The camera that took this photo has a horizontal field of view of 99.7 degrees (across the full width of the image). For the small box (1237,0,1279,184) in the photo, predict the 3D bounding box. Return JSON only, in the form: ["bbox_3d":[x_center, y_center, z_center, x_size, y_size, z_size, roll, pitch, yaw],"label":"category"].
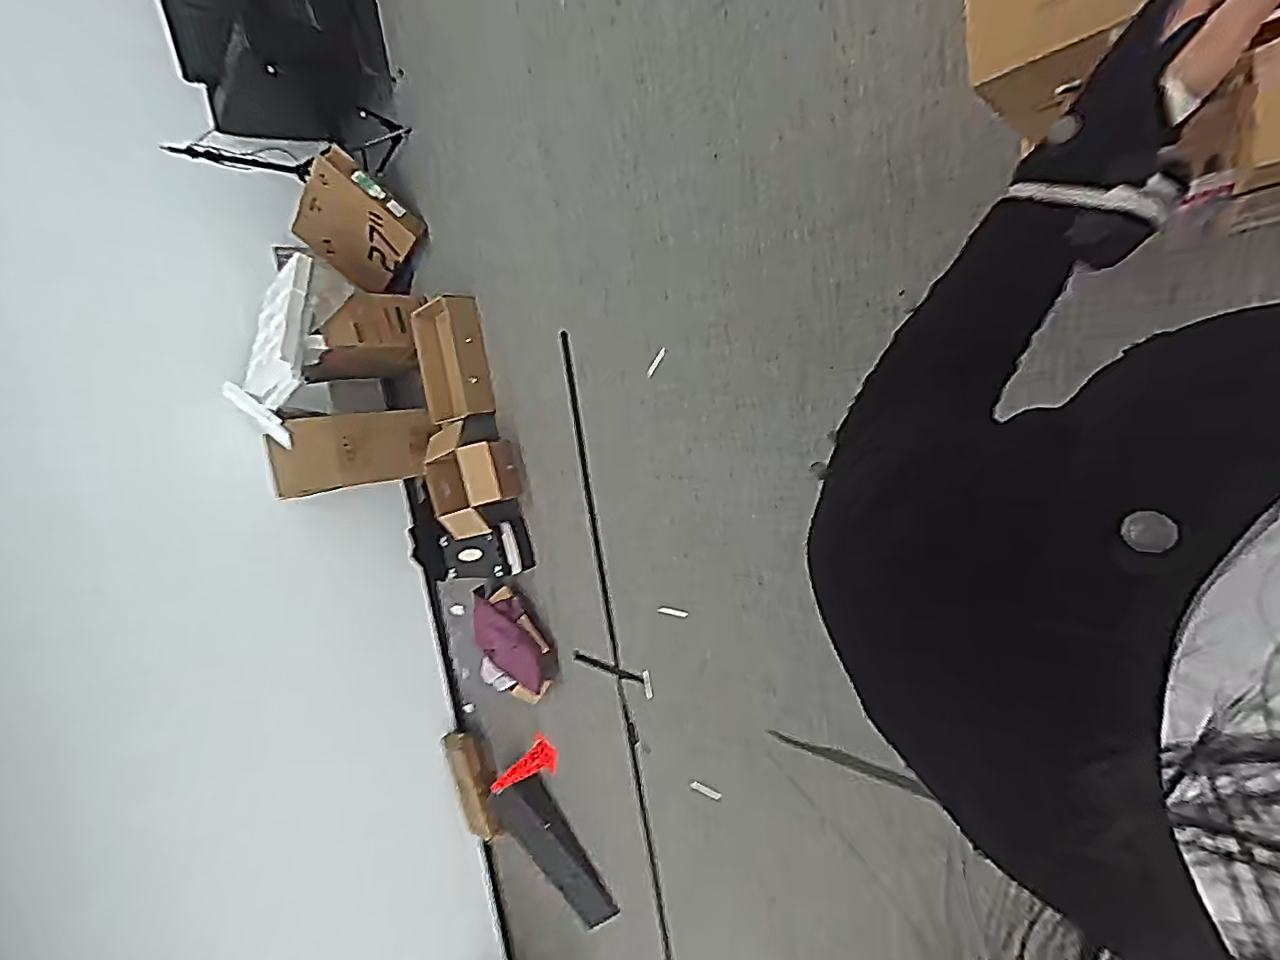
[{"bbox_3d":[0.729,-0.427,0.542,0.168,0.176,0.179,0,104,45],"label":"small box"}]

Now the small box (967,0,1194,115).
[{"bbox_3d":[0.451,-0.519,0.555,0.168,0.176,0.179,2,105,47],"label":"small box"}]

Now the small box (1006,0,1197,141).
[{"bbox_3d":[0.565,-0.556,0.666,0.168,0.176,0.179,1,104,47],"label":"small box"}]
